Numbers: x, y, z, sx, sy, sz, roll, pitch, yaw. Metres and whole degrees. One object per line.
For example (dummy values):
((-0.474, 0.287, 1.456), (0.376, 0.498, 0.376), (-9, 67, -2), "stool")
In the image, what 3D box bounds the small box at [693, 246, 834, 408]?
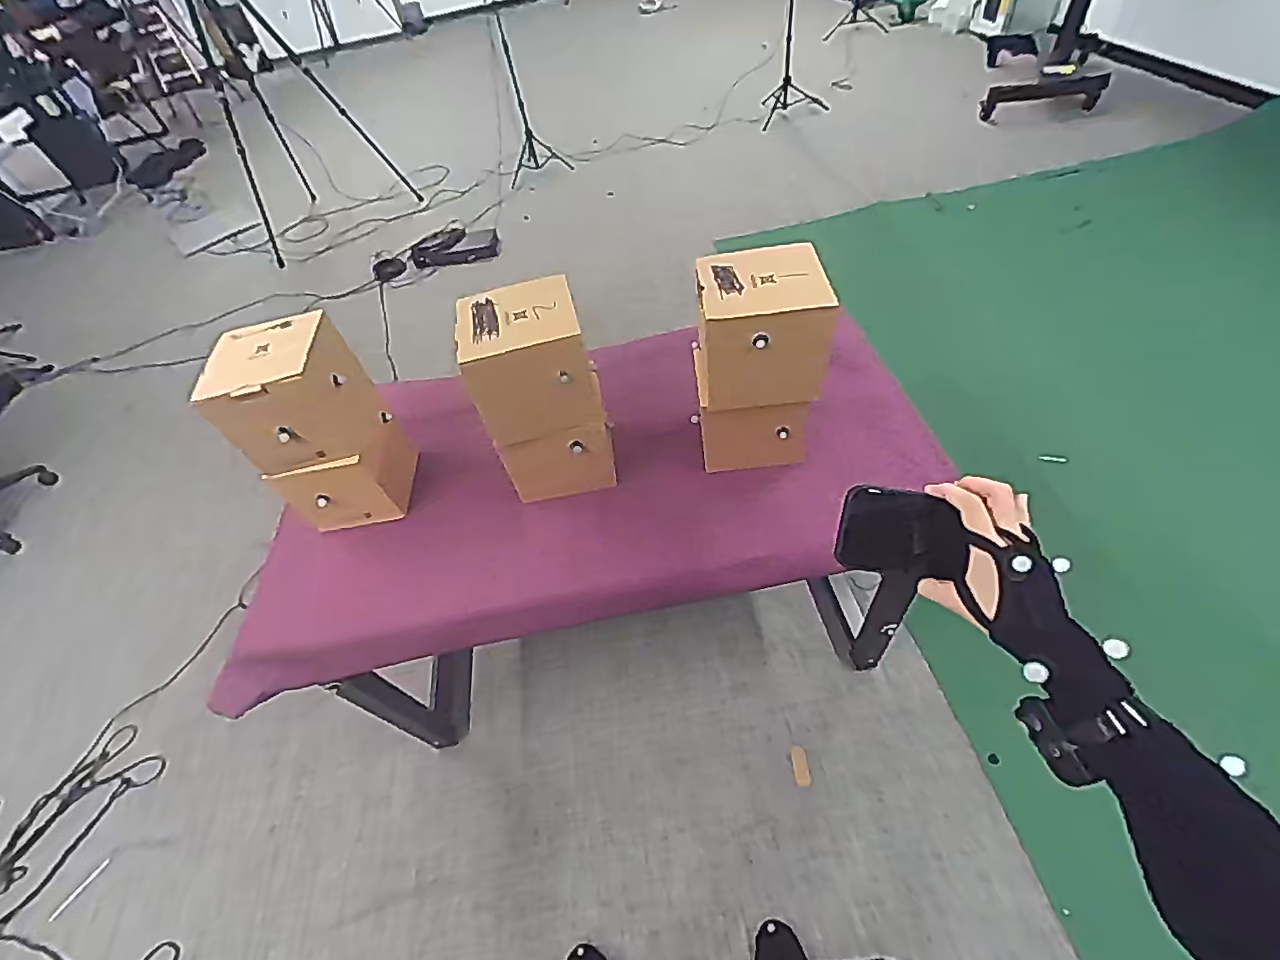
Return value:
((0.177, -0.225, 0.816), (0.179, 0.176, 0.168), (-5, 51, 5), "small box")

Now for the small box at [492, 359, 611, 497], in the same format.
((-0.149, -0.090, 0.973), (0.179, 0.176, 0.168), (-9, 51, 2), "small box")

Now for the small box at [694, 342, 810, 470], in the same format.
((0.189, -0.133, 0.953), (0.179, 0.176, 0.168), (-5, 51, 7), "small box")

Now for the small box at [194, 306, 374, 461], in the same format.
((-0.559, -0.149, 0.879), (0.168, 0.176, 0.179), (-13, 51, -1), "small box")

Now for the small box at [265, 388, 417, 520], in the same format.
((-0.536, -0.041, 1.001), (0.168, 0.176, 0.179), (-9, 51, 2), "small box")
